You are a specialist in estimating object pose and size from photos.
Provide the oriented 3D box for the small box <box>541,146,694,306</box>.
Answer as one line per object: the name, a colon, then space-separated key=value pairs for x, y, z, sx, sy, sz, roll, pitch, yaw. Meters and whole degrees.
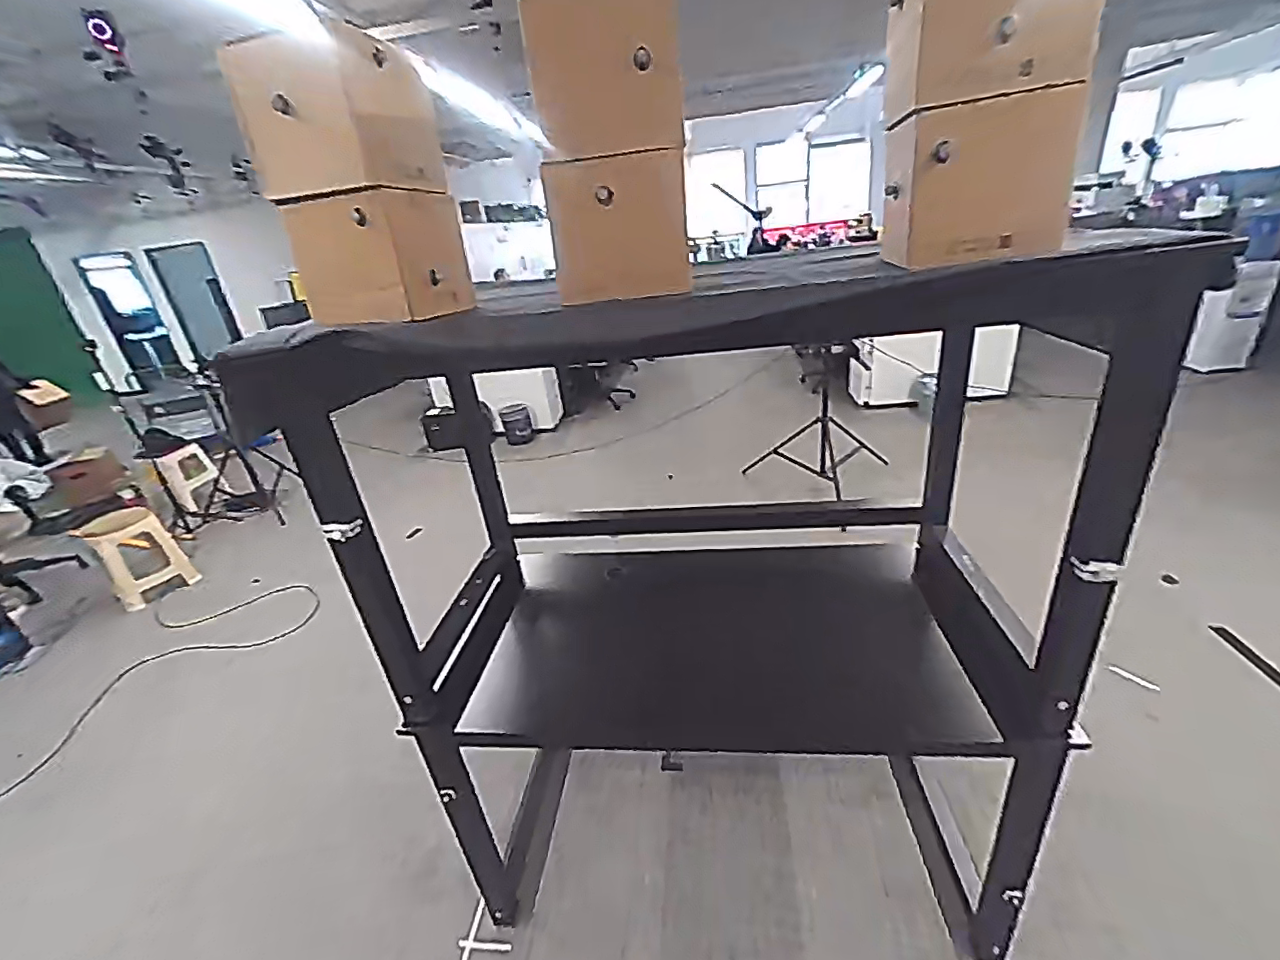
small box: x=-0.019 y=-0.340 z=0.745 sx=0.179 sy=0.176 sz=0.168 roll=-4 pitch=24 yaw=6

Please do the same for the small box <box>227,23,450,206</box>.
small box: x=-0.388 y=-0.464 z=0.726 sx=0.179 sy=0.176 sz=0.168 roll=1 pitch=24 yaw=17

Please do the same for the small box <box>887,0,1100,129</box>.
small box: x=0.386 y=-0.517 z=0.614 sx=0.168 sy=0.176 sz=0.179 roll=-3 pitch=25 yaw=14

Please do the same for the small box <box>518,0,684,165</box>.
small box: x=-0.038 y=-0.491 z=0.690 sx=0.179 sy=0.176 sz=0.168 roll=-7 pitch=22 yaw=2

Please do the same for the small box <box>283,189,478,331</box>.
small box: x=-0.369 y=-0.318 z=0.800 sx=0.179 sy=0.176 sz=0.168 roll=1 pitch=24 yaw=17
